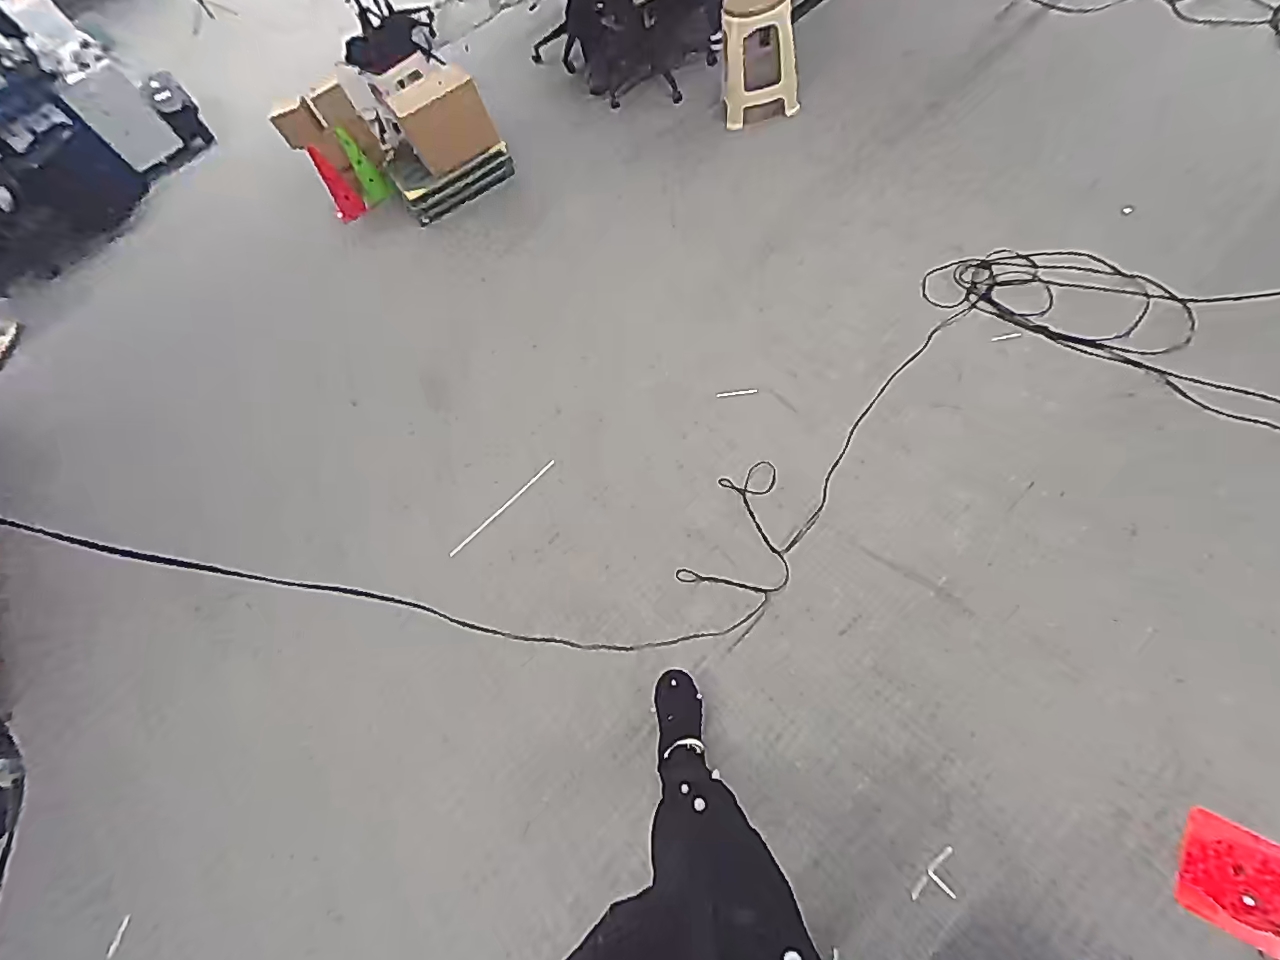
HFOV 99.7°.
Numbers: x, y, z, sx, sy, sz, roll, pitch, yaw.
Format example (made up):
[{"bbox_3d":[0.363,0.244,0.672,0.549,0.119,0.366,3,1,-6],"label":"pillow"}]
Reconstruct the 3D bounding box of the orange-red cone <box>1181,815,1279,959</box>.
[{"bbox_3d":[1.146,0.709,0.901,0.198,0.360,0.199,25,69,25],"label":"orange-red cone"}]
